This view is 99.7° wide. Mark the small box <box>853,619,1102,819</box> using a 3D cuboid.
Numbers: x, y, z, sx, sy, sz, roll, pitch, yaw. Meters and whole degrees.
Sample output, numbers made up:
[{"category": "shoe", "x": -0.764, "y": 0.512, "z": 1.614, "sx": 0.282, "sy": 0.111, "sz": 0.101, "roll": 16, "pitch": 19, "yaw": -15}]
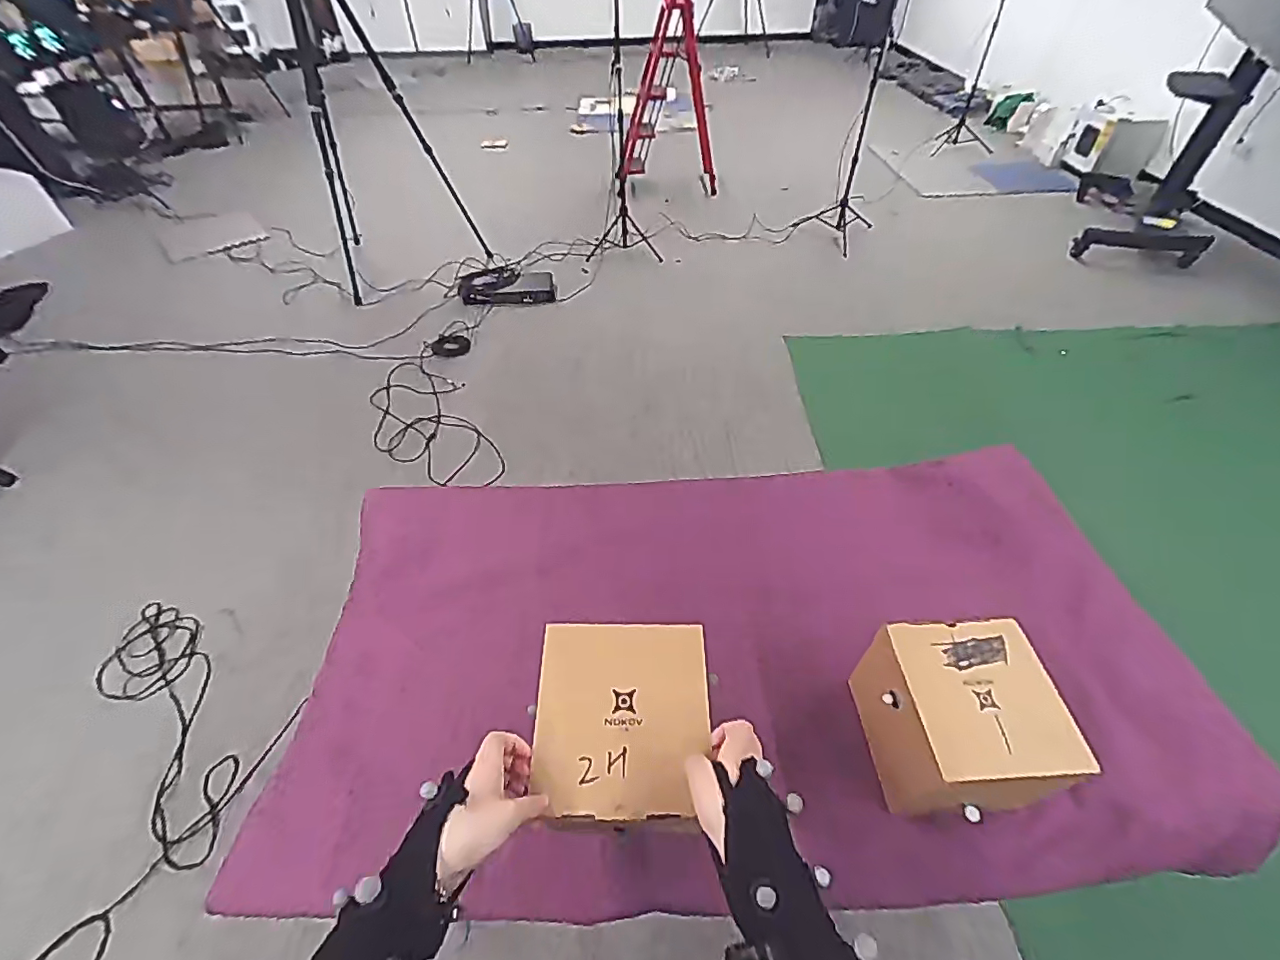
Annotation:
[{"category": "small box", "x": 0.379, "y": 0.289, "z": 0.654, "sx": 0.168, "sy": 0.176, "sz": 0.179, "roll": -3, "pitch": 48, "yaw": -1}]

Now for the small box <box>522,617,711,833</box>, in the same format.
[{"category": "small box", "x": -0.020, "y": 0.261, "z": 0.573, "sx": 0.168, "sy": 0.176, "sz": 0.179, "roll": 1, "pitch": 53, "yaw": 0}]
